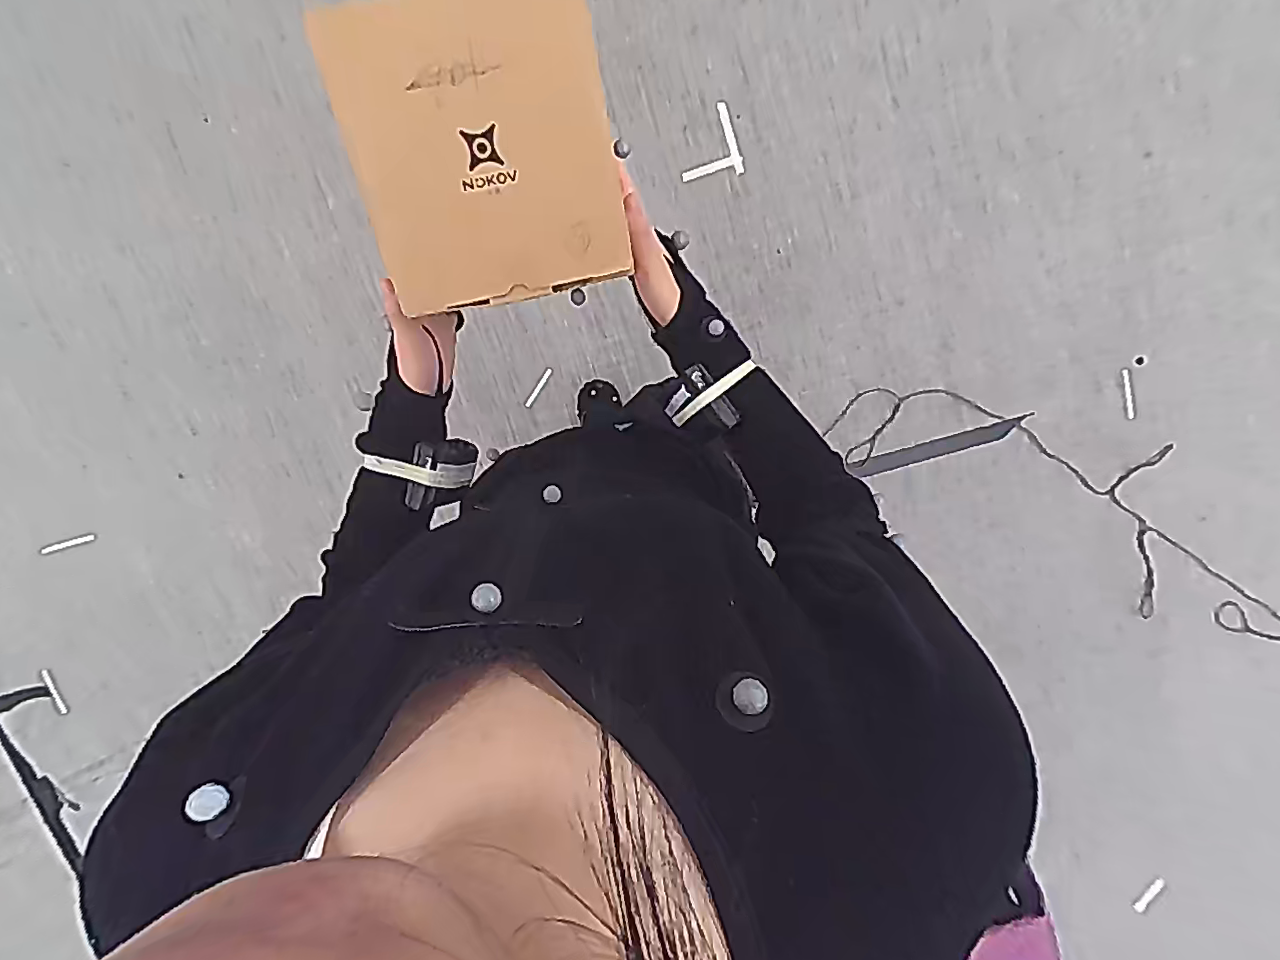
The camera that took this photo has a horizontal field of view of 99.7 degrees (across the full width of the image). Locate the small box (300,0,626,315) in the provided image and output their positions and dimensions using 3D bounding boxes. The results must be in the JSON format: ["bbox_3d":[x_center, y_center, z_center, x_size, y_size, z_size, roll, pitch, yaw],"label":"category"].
[{"bbox_3d":[-0.109,-0.237,0.419,0.168,0.176,0.179,-13,110,-1],"label":"small box"}]
